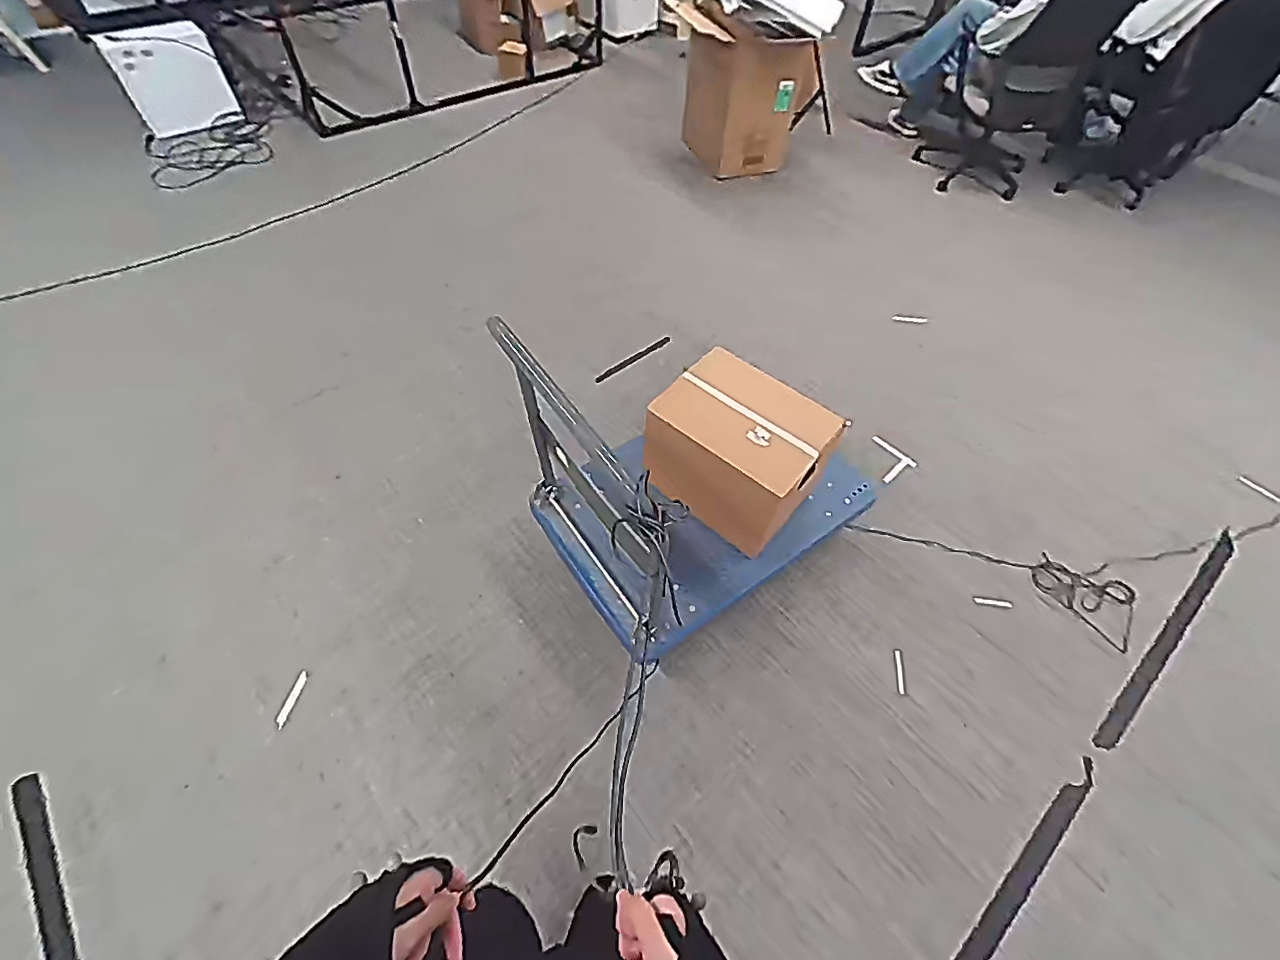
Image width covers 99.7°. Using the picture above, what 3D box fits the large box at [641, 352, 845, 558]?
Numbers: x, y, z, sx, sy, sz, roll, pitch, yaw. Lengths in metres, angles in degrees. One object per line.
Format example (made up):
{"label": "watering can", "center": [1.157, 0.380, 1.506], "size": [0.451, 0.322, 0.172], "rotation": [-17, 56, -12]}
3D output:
{"label": "large box", "center": [0.257, -0.069, 1.465], "size": [0.408, 0.320, 0.320], "rotation": [36, 61, 20]}
